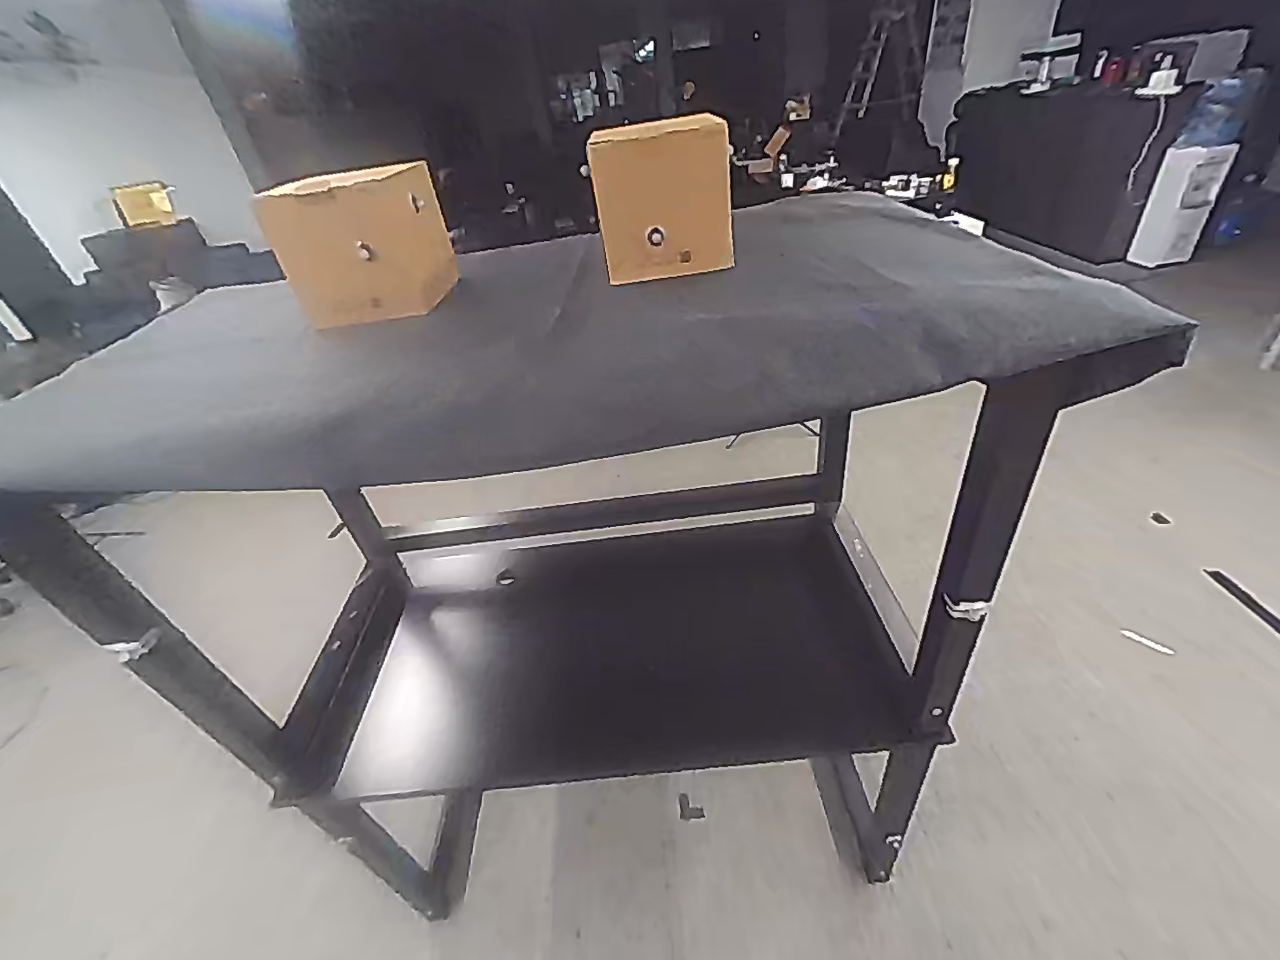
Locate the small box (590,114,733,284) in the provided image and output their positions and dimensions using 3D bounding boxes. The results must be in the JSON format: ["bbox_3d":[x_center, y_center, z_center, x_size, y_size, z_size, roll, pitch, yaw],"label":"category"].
[{"bbox_3d":[0.031,-0.378,0.729,0.168,0.176,0.179,-7,37,3],"label":"small box"}]

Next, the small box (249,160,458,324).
[{"bbox_3d":[-0.372,-0.322,0.745,0.168,0.176,0.179,-5,37,5],"label":"small box"}]
